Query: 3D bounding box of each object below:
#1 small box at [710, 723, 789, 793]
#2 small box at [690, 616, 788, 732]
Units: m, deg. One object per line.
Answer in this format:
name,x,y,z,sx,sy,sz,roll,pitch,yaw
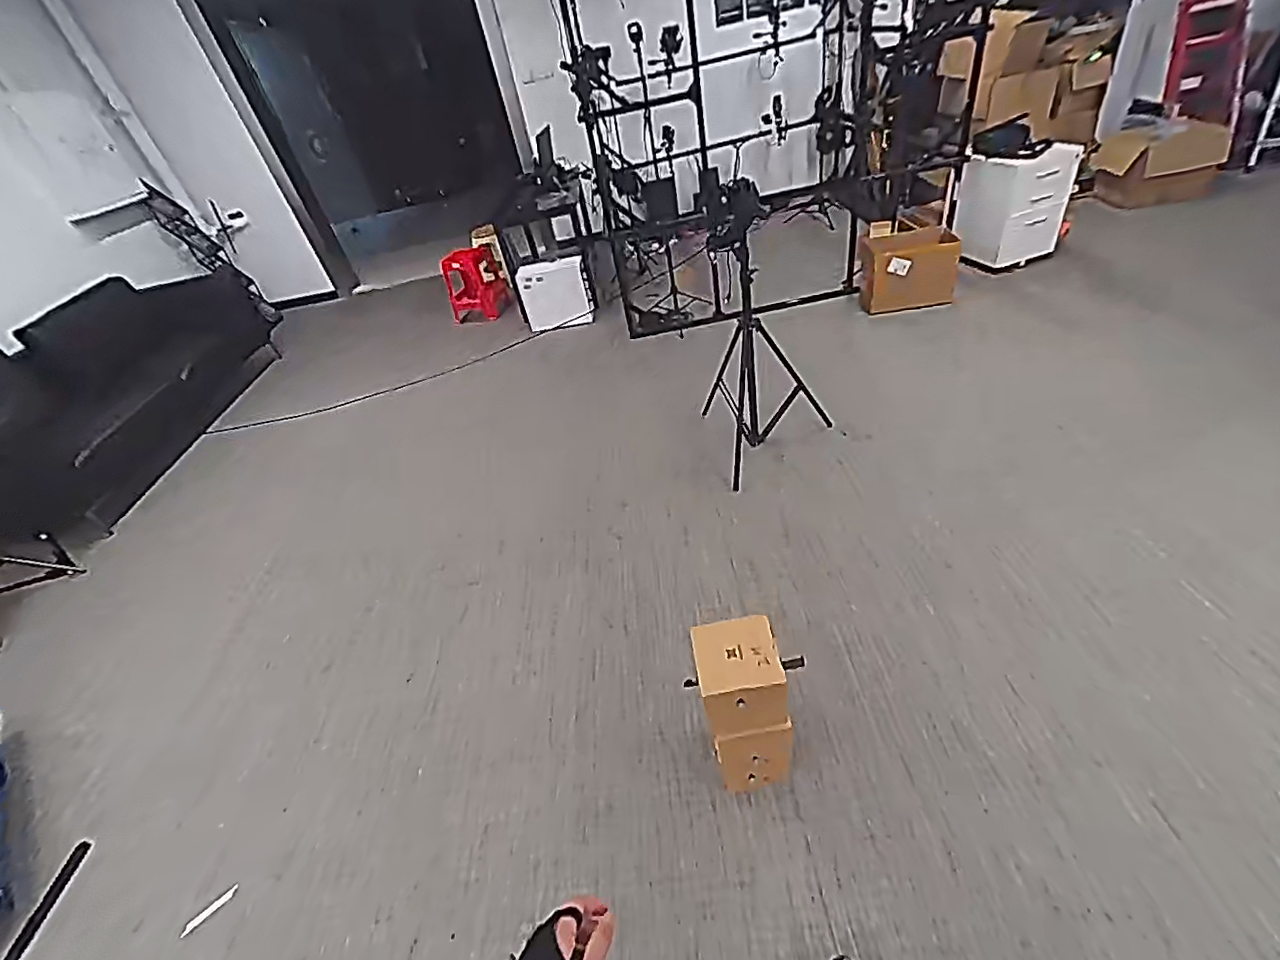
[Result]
small box,0.274,0.665,1.388,0.168,0.176,0.179,-14,39,0
small box,0.215,0.424,1.172,0.179,0.176,0.168,-10,40,3
